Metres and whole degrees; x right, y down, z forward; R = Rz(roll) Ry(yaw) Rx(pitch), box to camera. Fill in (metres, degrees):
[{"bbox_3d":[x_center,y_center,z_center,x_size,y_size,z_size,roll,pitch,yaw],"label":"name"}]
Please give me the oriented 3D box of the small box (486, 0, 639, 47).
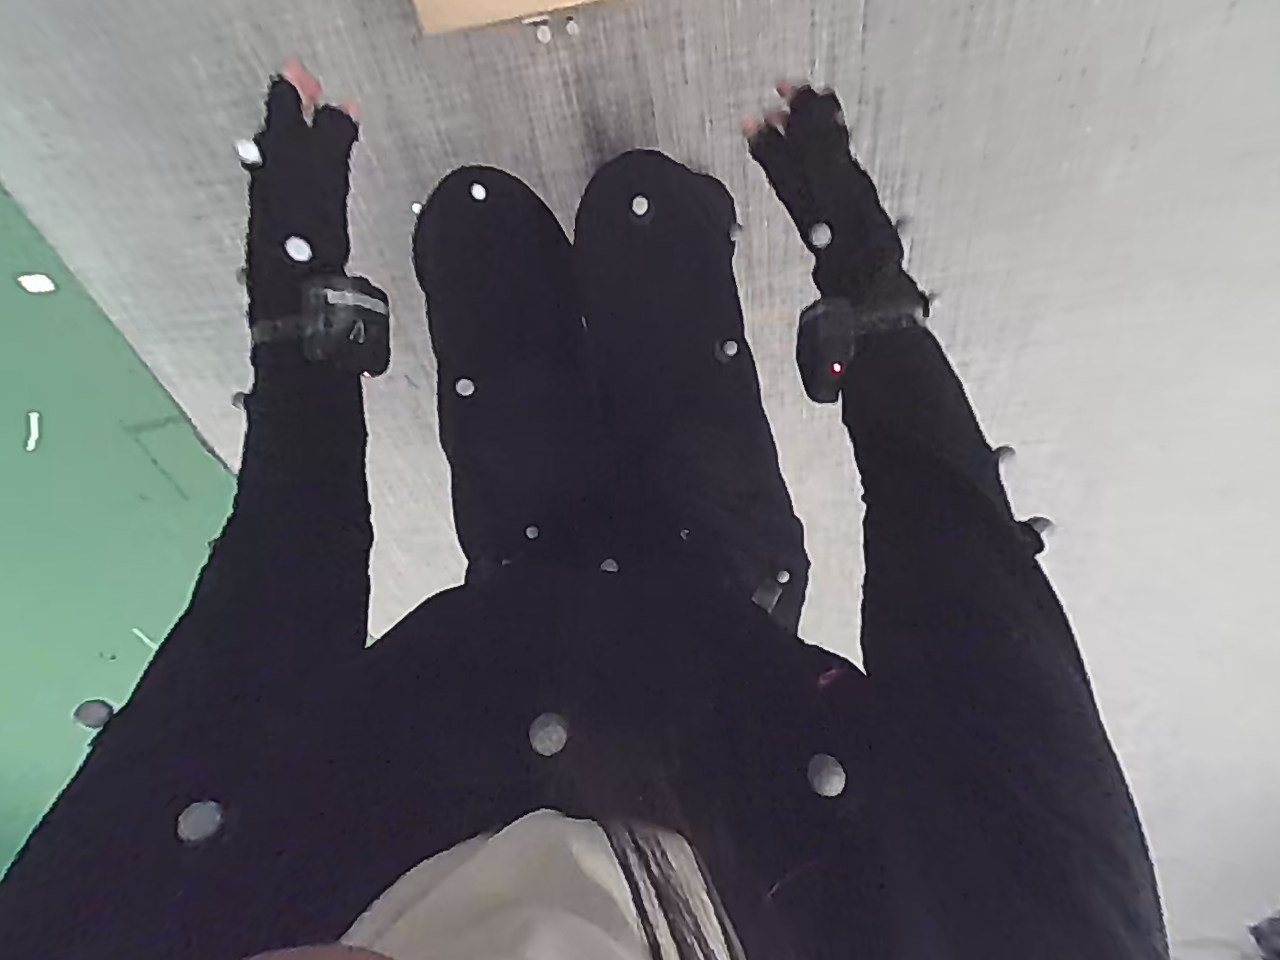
[{"bbox_3d":[-0.096,-0.576,0.569,0.179,0.176,0.168,-5,129,7],"label":"small box"}]
